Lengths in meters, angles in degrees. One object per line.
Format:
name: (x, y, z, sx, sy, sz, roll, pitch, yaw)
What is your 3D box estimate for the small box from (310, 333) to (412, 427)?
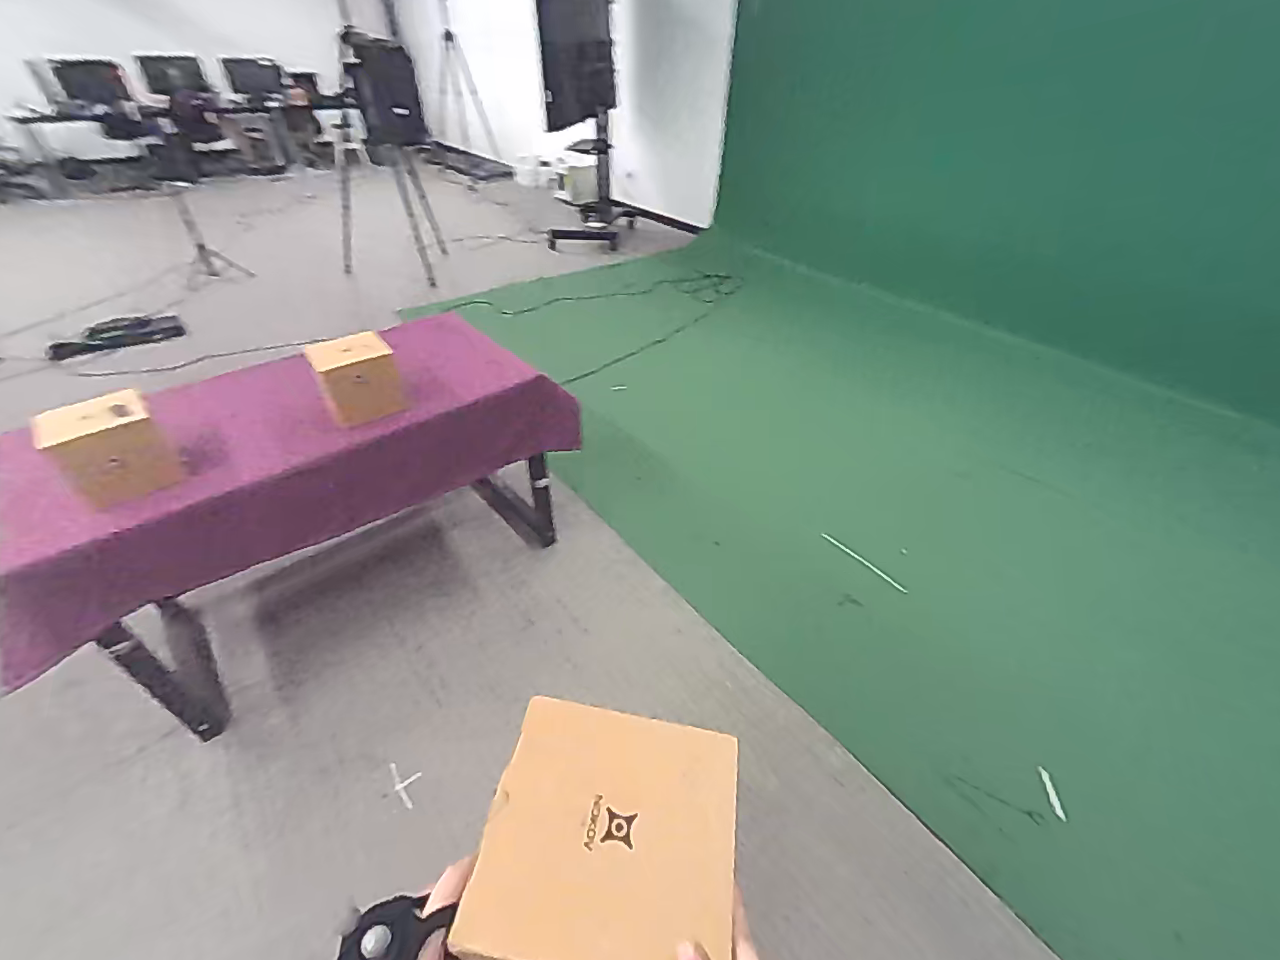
small box: (-0.728, -0.262, 1.421, 0.179, 0.176, 0.168, -25, 46, -28)

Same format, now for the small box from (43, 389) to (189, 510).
small box: (-1.126, -0.067, 1.176, 0.179, 0.176, 0.168, -31, 49, -32)

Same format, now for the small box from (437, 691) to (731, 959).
small box: (-0.031, 0.301, 0.432, 0.179, 0.176, 0.168, 9, 39, 5)
